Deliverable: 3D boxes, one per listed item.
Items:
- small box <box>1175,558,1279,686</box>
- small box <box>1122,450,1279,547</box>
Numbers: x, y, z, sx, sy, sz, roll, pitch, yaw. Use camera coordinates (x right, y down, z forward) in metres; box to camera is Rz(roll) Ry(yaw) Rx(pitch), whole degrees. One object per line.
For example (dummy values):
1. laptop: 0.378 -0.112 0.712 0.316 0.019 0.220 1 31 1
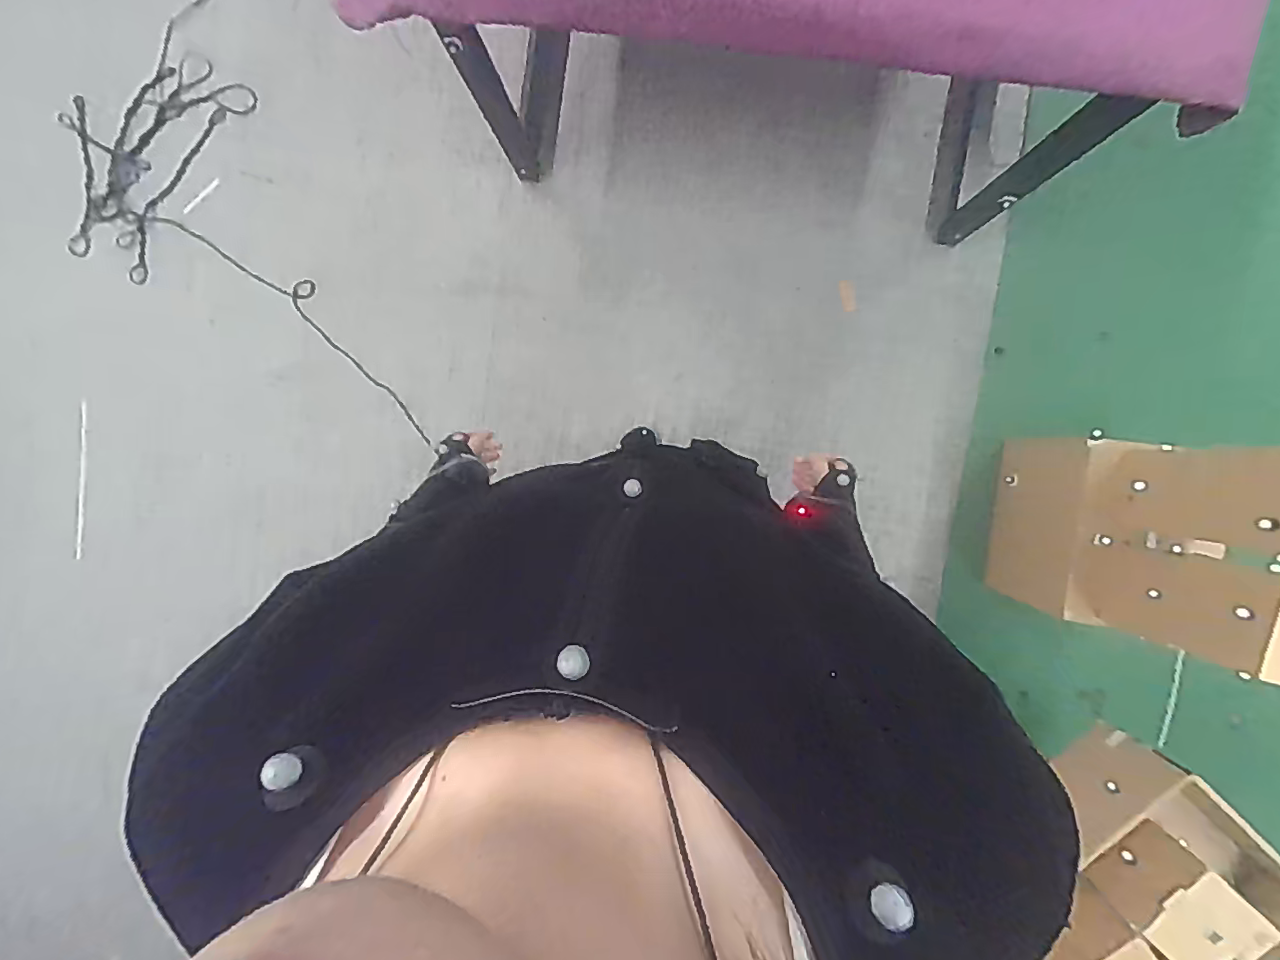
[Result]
1. small box: 1.068 0.244 0.907 0.168 0.176 0.179 13 93 4
2. small box: 1.108 0.030 1.055 0.179 0.176 0.168 4 93 3
